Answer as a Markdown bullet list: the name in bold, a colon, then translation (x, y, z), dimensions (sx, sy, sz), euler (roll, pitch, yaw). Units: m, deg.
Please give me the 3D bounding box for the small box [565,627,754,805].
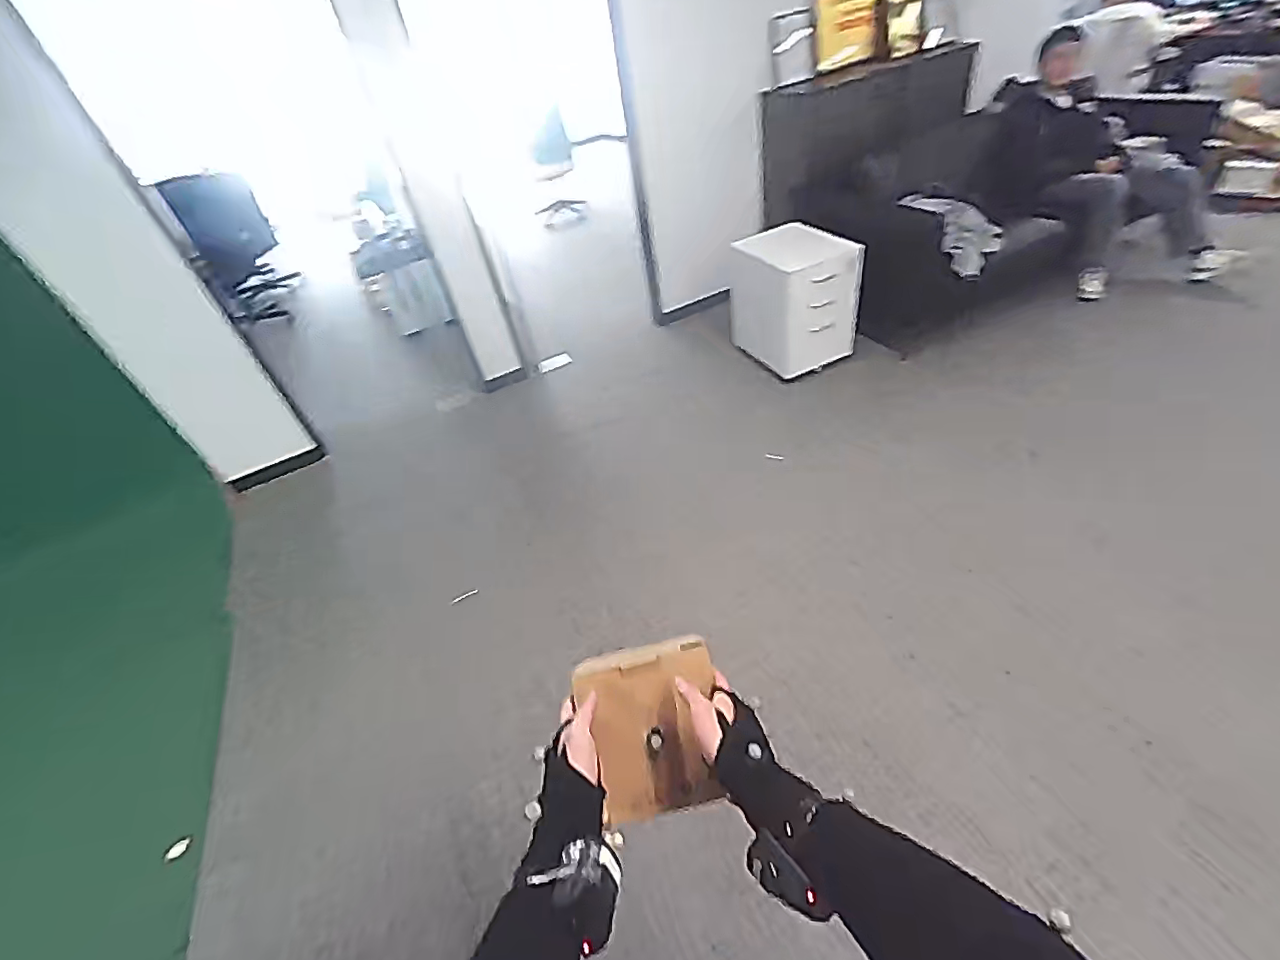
- **small box**: translation (0.023, 0.306, 0.718), dimensions (0.179, 0.168, 0.176), euler (-4, 72, -31)
